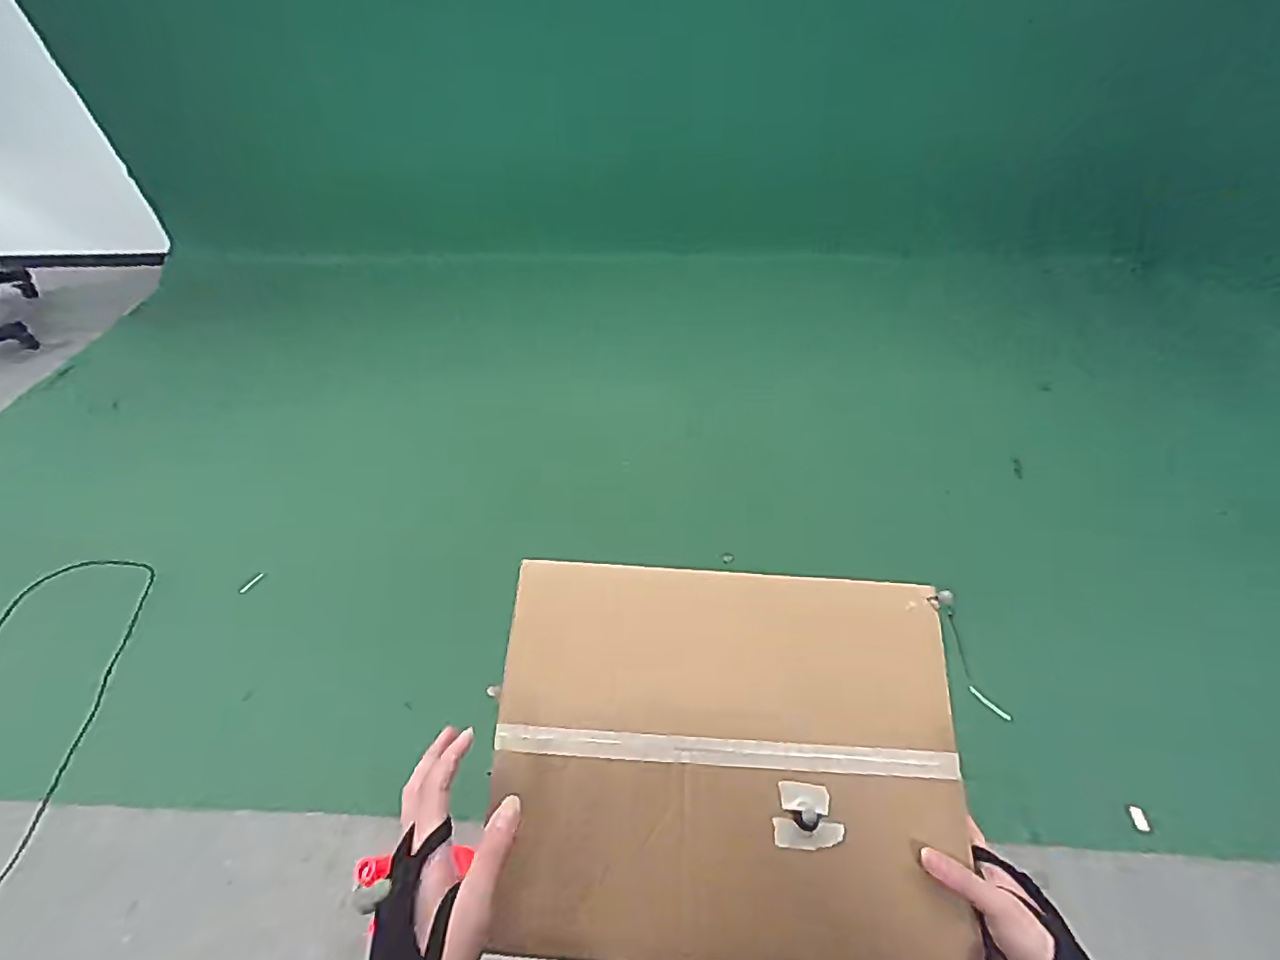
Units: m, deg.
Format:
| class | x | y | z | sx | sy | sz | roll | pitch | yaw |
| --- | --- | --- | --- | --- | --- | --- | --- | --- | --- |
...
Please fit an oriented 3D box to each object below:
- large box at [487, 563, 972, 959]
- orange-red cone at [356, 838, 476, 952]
| class | x | y | z | sx | sy | sz | roll | pitch | yaw |
| --- | --- | --- | --- | --- | --- | --- | --- | --- | --- |
| large box | 0.074 | 0.288 | 0.626 | 0.408 | 0.320 | 0.320 | 3 | 70 | 0 |
| orange-red cone | -0.520 | 0.865 | 1.162 | 0.199 | 0.360 | 0.198 | 5 | 47 | 9 |
